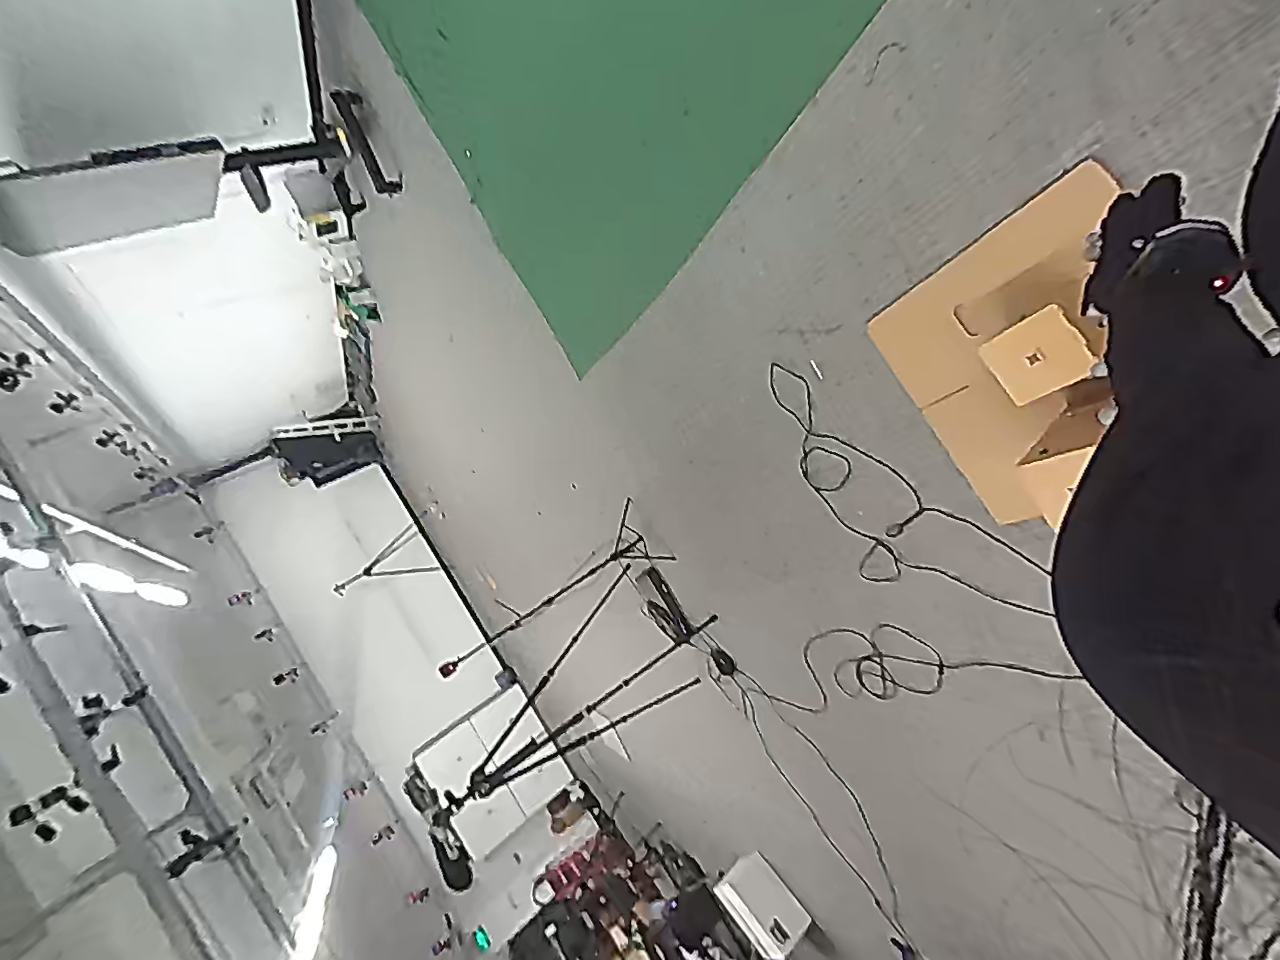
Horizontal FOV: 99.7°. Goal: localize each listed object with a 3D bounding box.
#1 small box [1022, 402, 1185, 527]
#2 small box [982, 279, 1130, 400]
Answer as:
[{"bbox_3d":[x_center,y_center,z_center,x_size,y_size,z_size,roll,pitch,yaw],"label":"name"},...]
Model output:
[{"bbox_3d":[0.926,-0.029,1.083,0.168,0.176,0.179,57,150,0],"label":"small box"},{"bbox_3d":[0.912,-0.307,1.187,0.168,0.176,0.179,56,149,5],"label":"small box"}]
